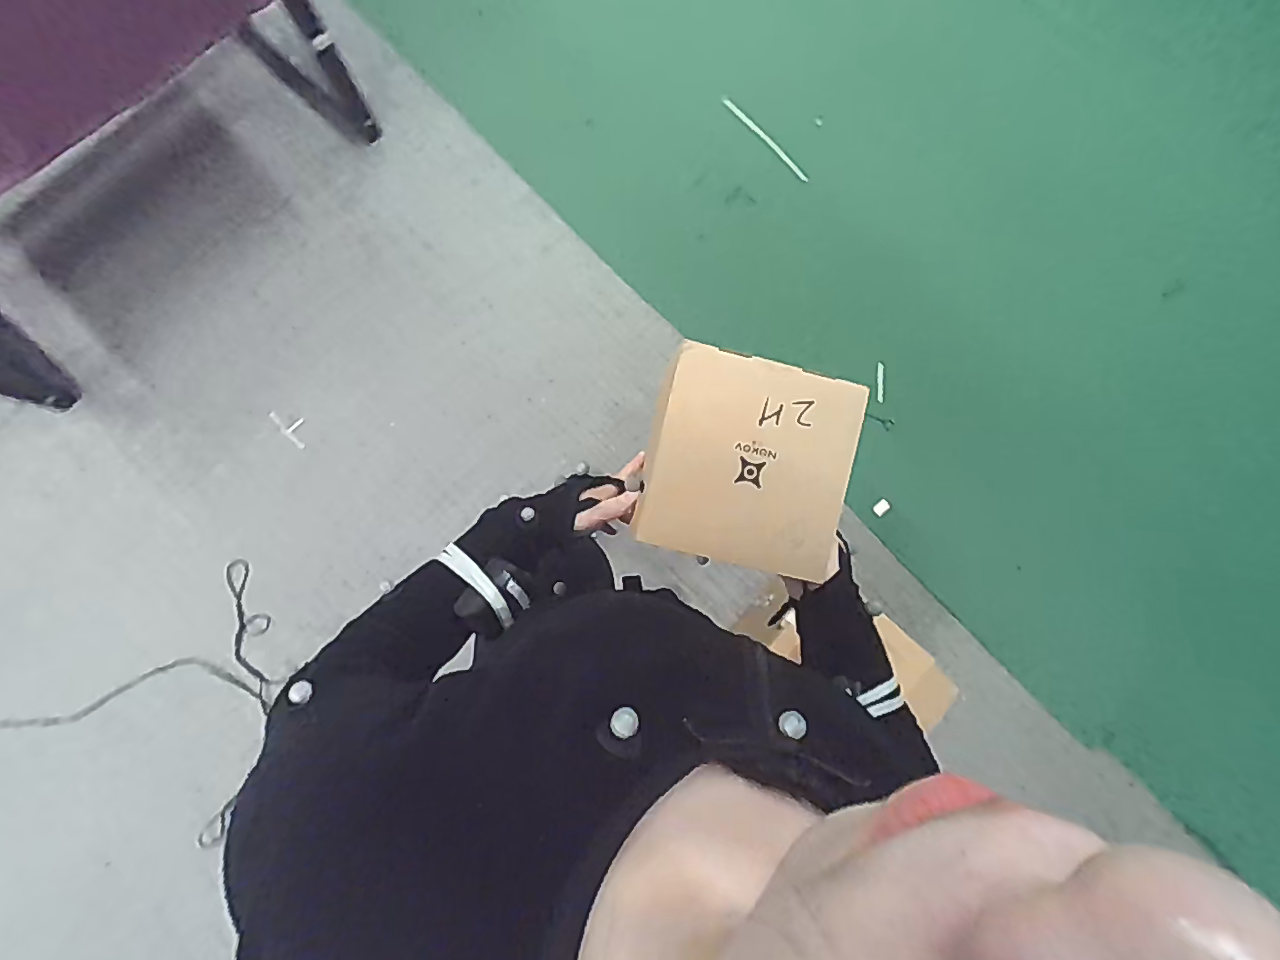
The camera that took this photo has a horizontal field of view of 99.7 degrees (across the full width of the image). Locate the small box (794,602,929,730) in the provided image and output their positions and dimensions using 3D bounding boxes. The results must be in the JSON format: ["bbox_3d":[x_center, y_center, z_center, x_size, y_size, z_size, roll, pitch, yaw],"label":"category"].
[{"bbox_3d":[0.447,0.376,1.129,0.168,0.176,0.179,44,80,1],"label":"small box"}]

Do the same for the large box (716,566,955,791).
[{"bbox_3d":[0.465,0.465,1.368,0.408,0.320,0.320,45,82,1],"label":"large box"}]
